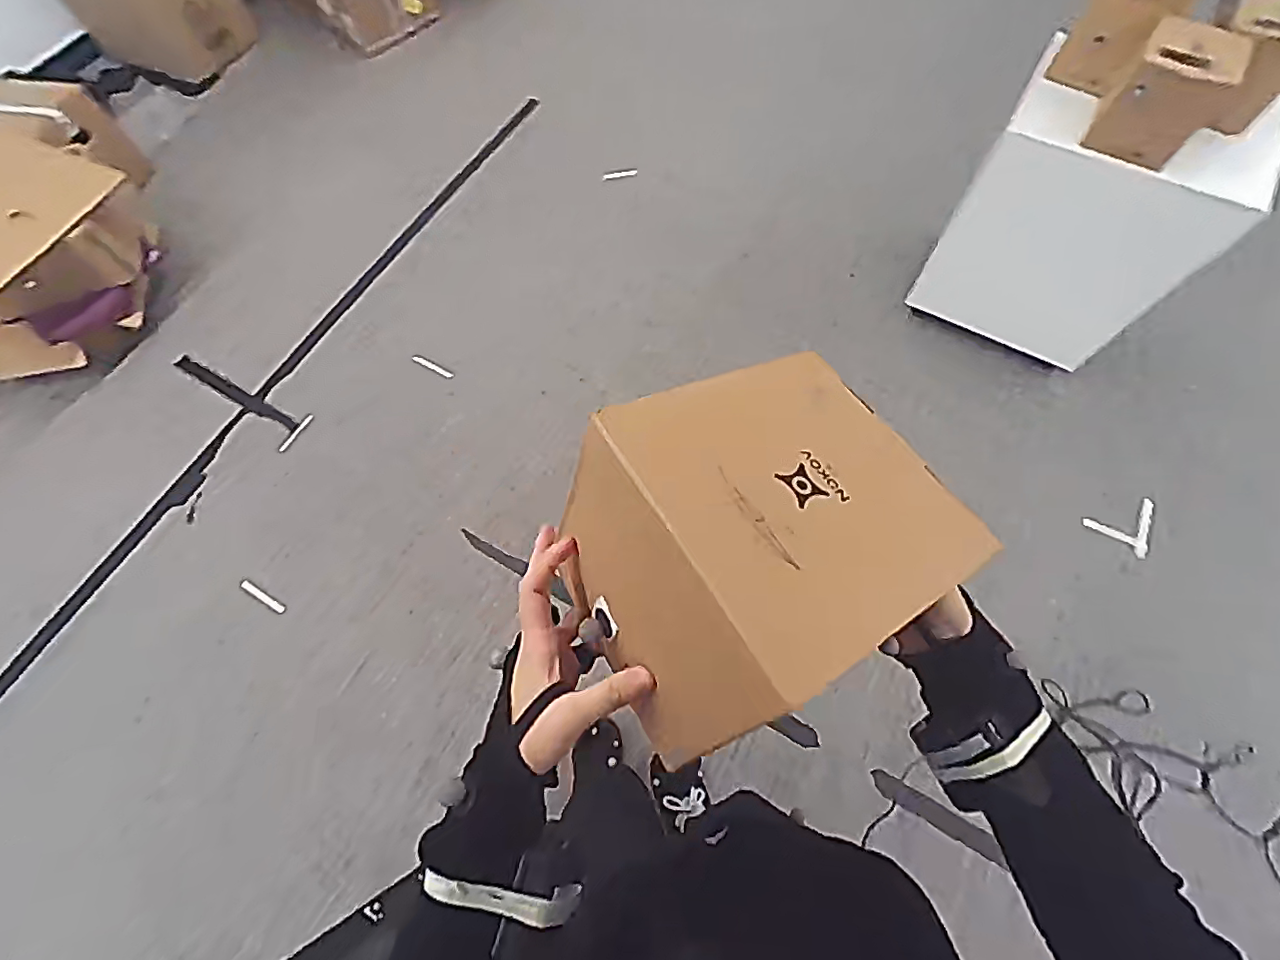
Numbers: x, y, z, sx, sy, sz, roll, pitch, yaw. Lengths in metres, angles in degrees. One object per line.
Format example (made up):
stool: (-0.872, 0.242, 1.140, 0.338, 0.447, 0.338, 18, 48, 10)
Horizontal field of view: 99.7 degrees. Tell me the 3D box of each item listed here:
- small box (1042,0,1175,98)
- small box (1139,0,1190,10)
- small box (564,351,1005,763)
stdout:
small box: (1.022, -0.978, 1.172, 0.168, 0.176, 0.179, 32, 72, 14)
small box: (1.027, -1.042, 1.021, 0.168, 0.176, 0.179, 31, 73, 13)
small box: (0.070, 0.049, 0.347, 0.179, 0.176, 0.168, -22, 64, -29)
